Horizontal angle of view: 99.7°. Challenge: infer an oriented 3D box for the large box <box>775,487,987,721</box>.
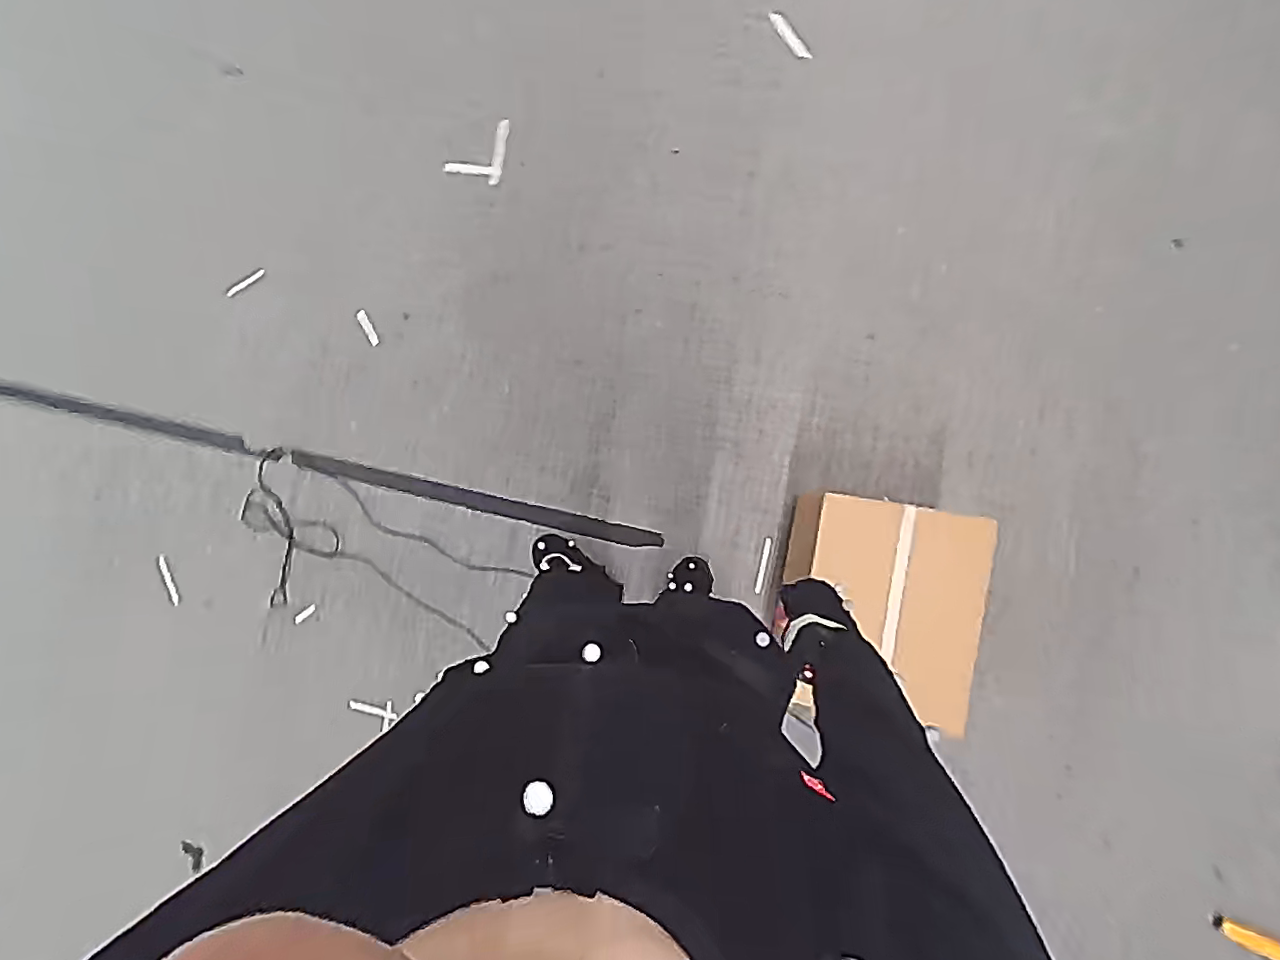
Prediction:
[{"bbox_3d":[0.489,0.237,1.172,0.320,0.320,0.408,10,90,7],"label":"large box"}]
